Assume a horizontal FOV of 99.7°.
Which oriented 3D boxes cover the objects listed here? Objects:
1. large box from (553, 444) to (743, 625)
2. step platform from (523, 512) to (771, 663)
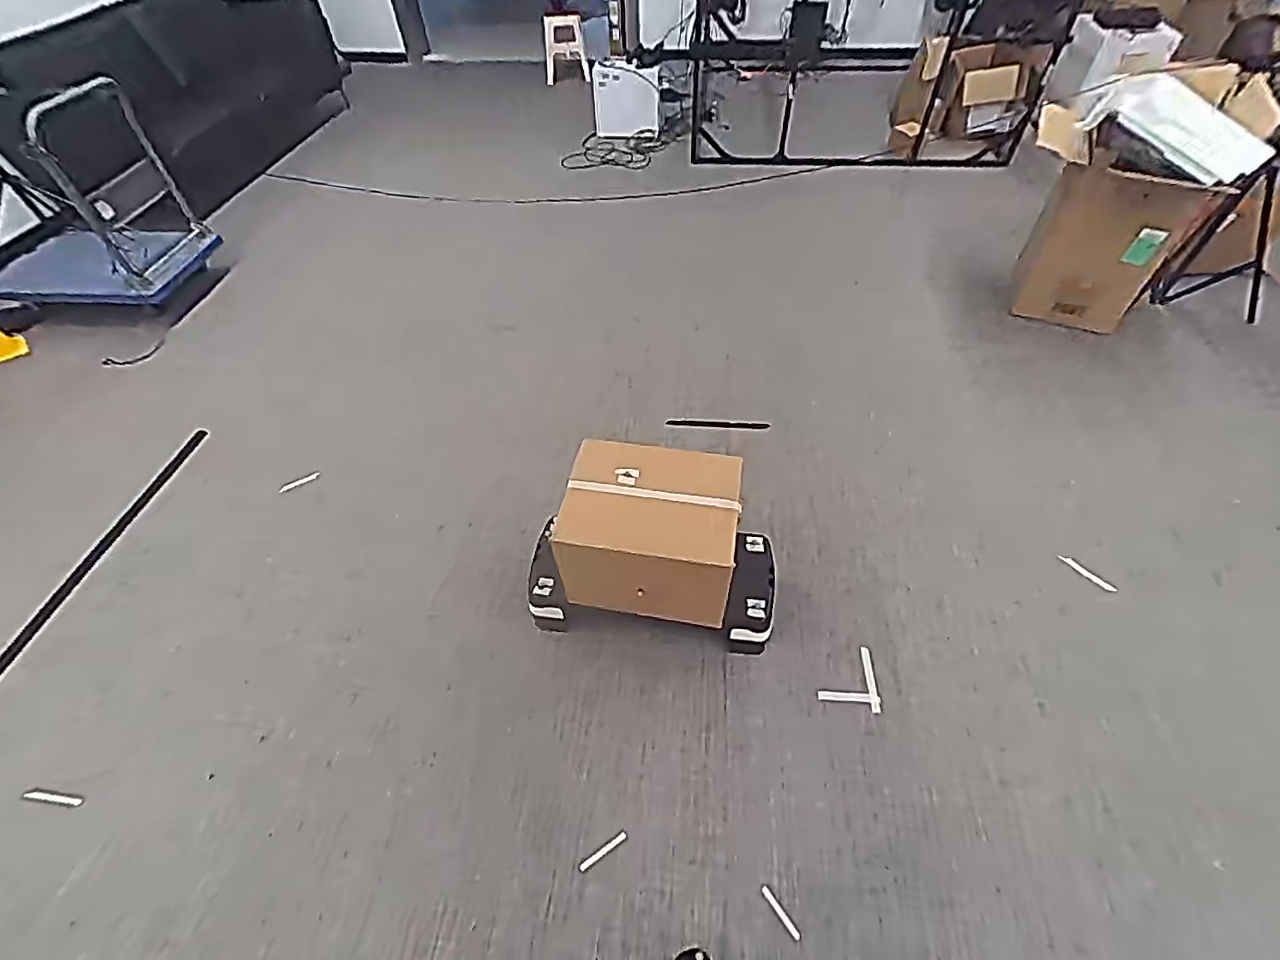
[{"bbox_3d":[0.039,0.139,1.352,0.408,0.320,0.320,6,51,9],"label":"large box"},{"bbox_3d":[0.022,0.291,1.537,0.684,0.204,0.286,8,52,10],"label":"step platform"}]
